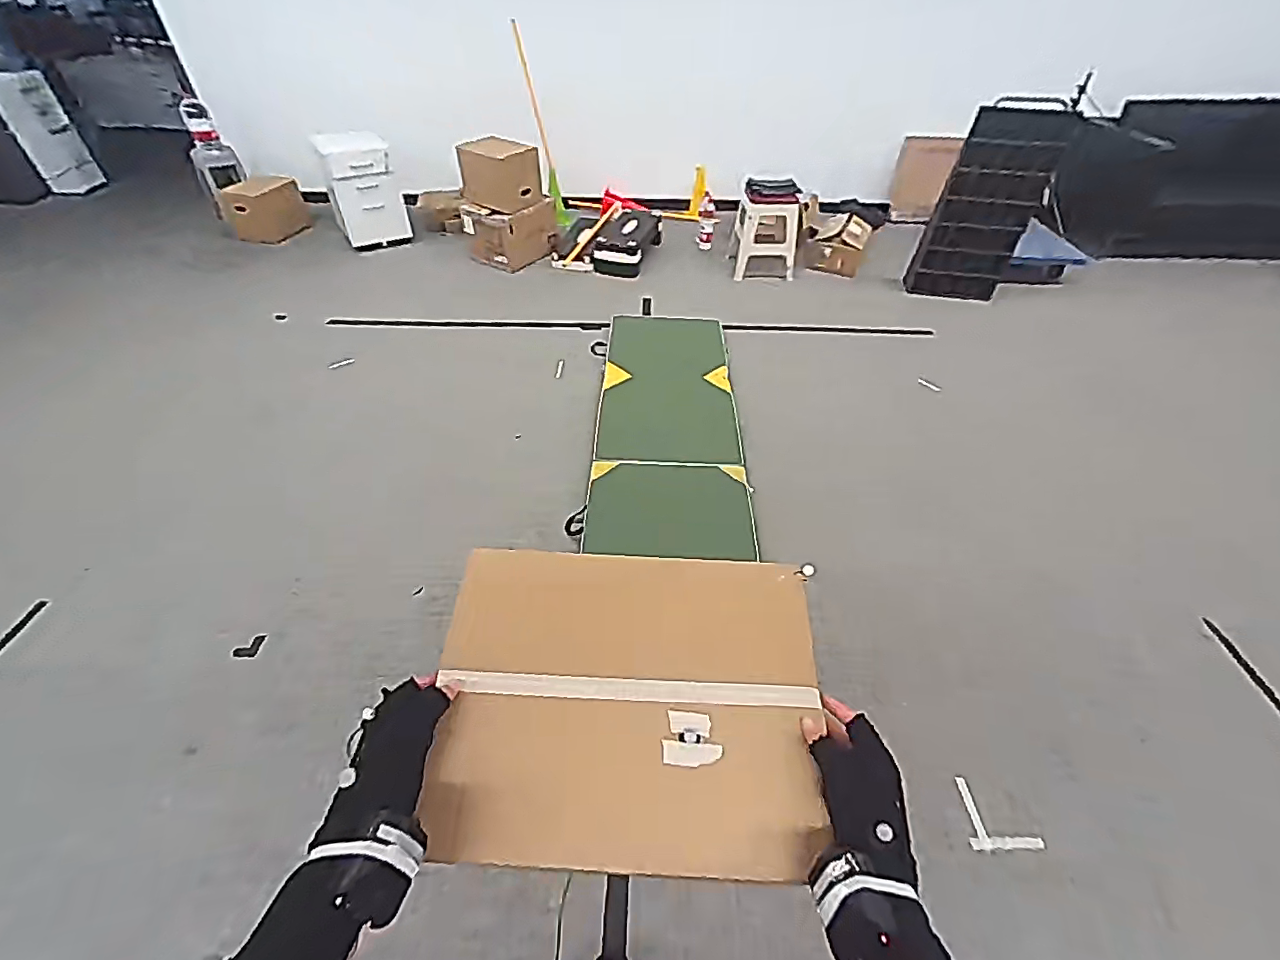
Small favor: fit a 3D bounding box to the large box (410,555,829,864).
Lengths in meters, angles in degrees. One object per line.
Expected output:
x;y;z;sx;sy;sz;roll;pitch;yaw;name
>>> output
-0.020;0.311;0.711;0.408;0.320;0.320;2;55;0;large box
